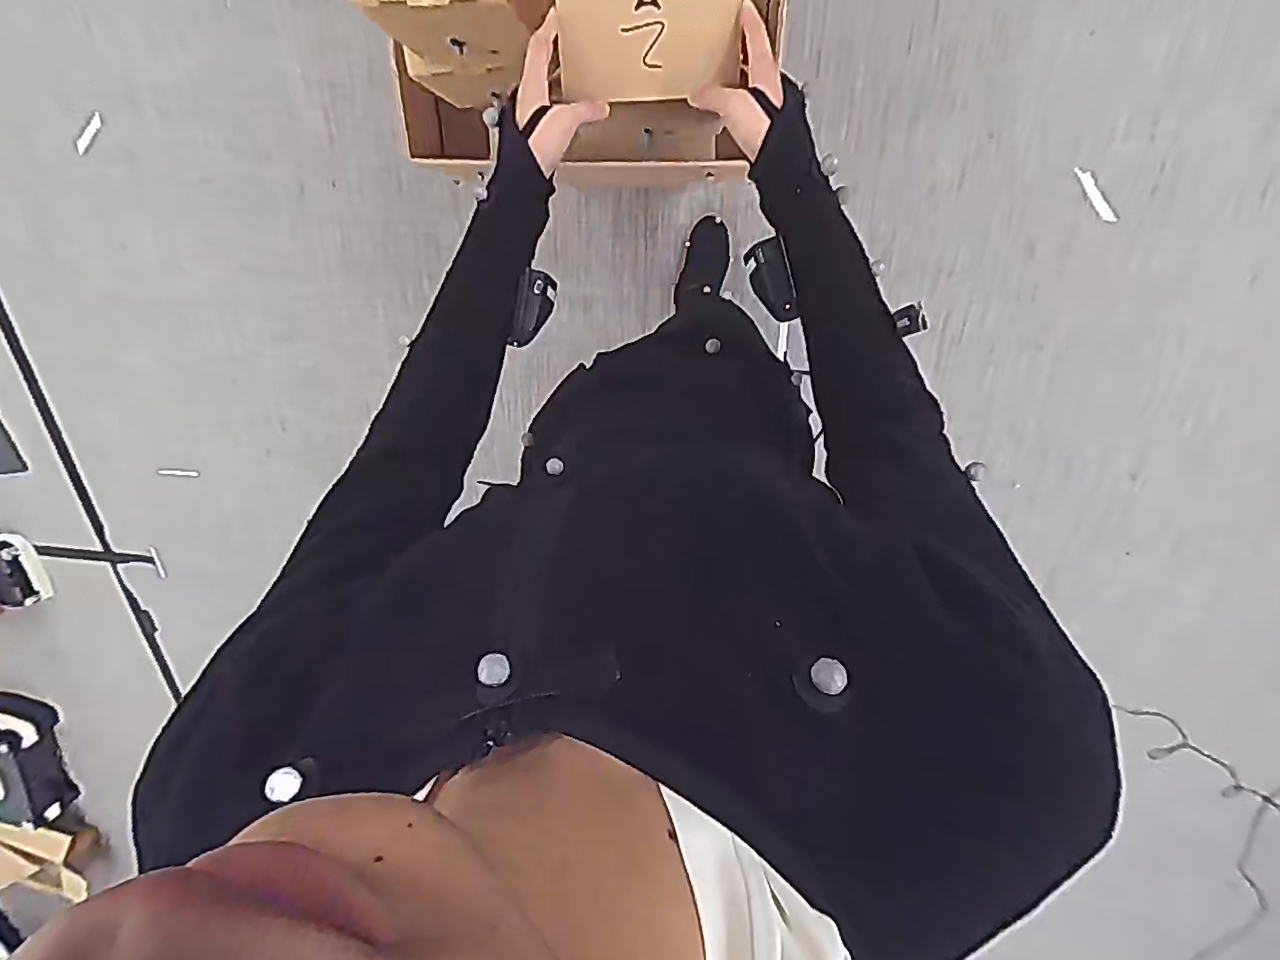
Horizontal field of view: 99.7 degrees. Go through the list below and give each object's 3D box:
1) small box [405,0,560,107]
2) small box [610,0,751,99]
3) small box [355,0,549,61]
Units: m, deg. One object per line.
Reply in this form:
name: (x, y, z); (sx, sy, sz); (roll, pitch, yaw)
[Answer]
small box: (-0.212, -0.632, 0.732); (0.168, 0.176, 0.179); (-1, 114, 6)
small box: (0.059, -0.624, 0.699); (0.168, 0.176, 0.179); (7, 113, 5)
small box: (-0.199, -0.580, 0.575); (0.168, 0.176, 0.179); (1, 114, 4)
